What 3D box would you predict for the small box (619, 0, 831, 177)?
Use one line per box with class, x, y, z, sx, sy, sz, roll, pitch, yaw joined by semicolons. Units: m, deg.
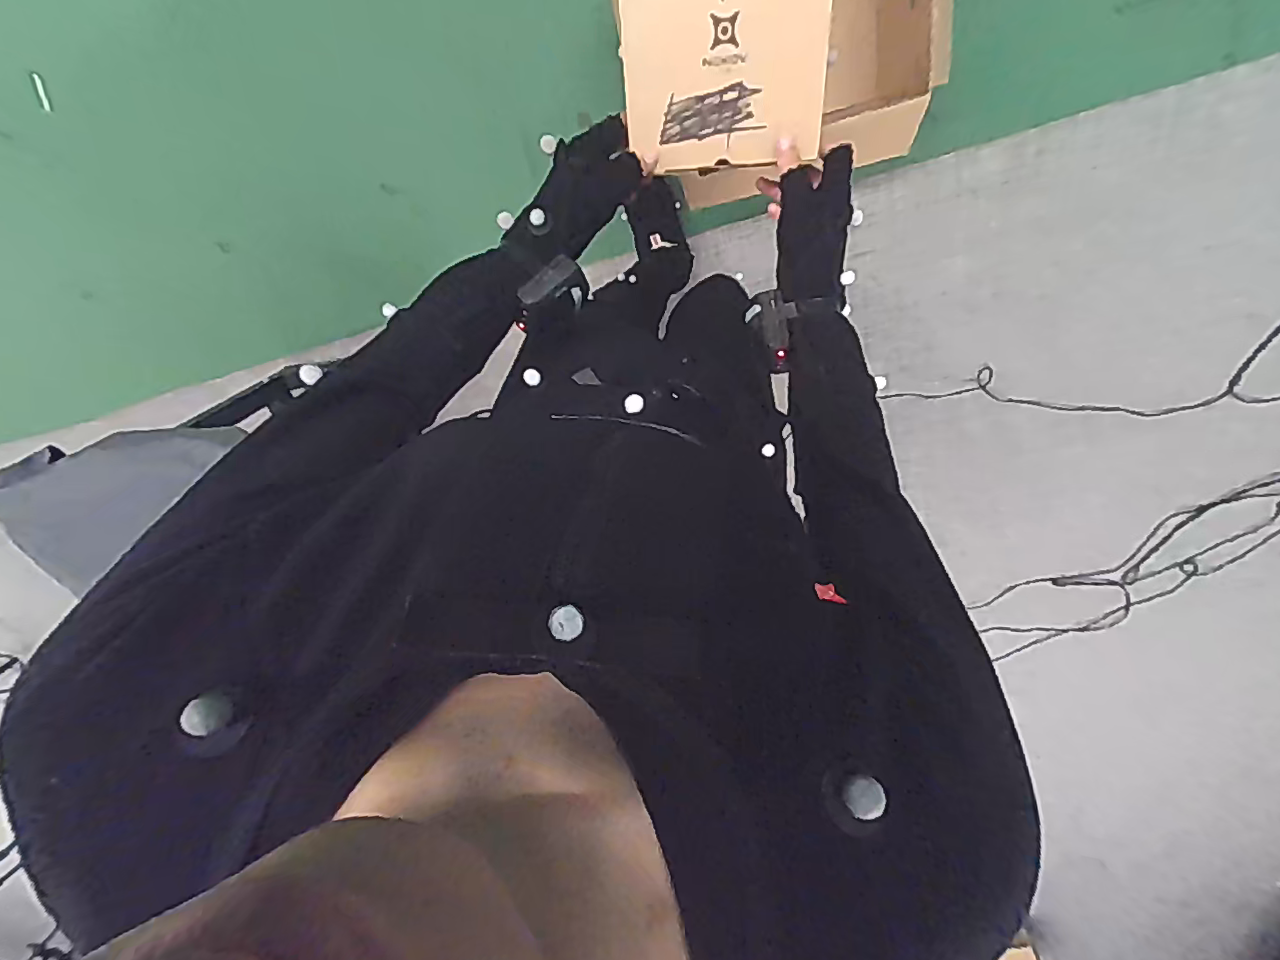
small box;0.078;-0.391;0.497;0.168;0.176;0.179;1;123;9
